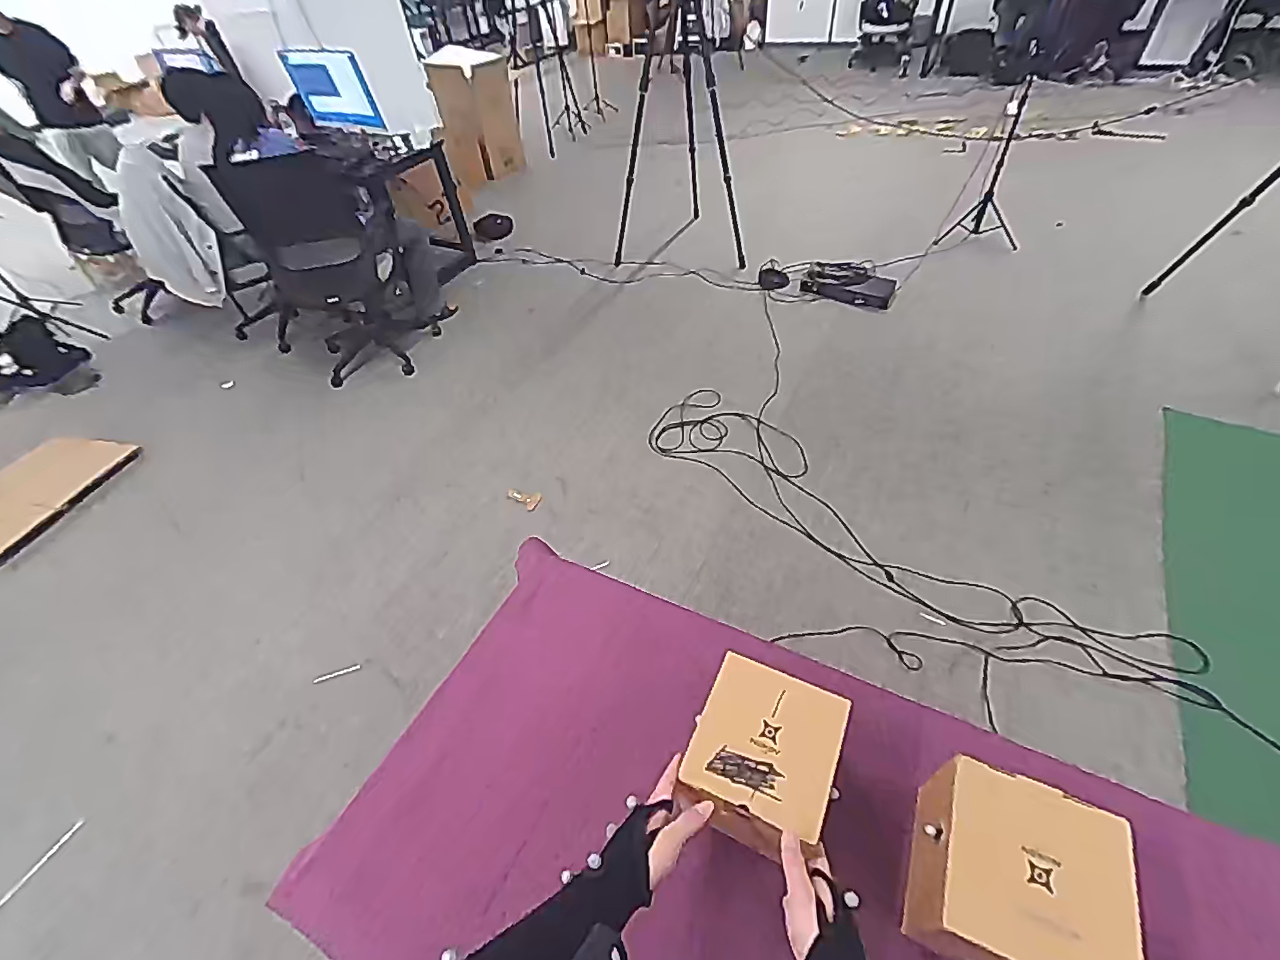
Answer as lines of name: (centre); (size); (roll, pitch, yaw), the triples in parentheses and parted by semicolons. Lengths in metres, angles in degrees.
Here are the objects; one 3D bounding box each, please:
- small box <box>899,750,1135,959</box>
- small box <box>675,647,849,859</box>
small box: (0.409, 0.449, 0.611); (0.168, 0.176, 0.179); (17, 52, 22)
small box: (0.159, 0.363, 0.716); (0.168, 0.176, 0.179); (18, 51, 21)
